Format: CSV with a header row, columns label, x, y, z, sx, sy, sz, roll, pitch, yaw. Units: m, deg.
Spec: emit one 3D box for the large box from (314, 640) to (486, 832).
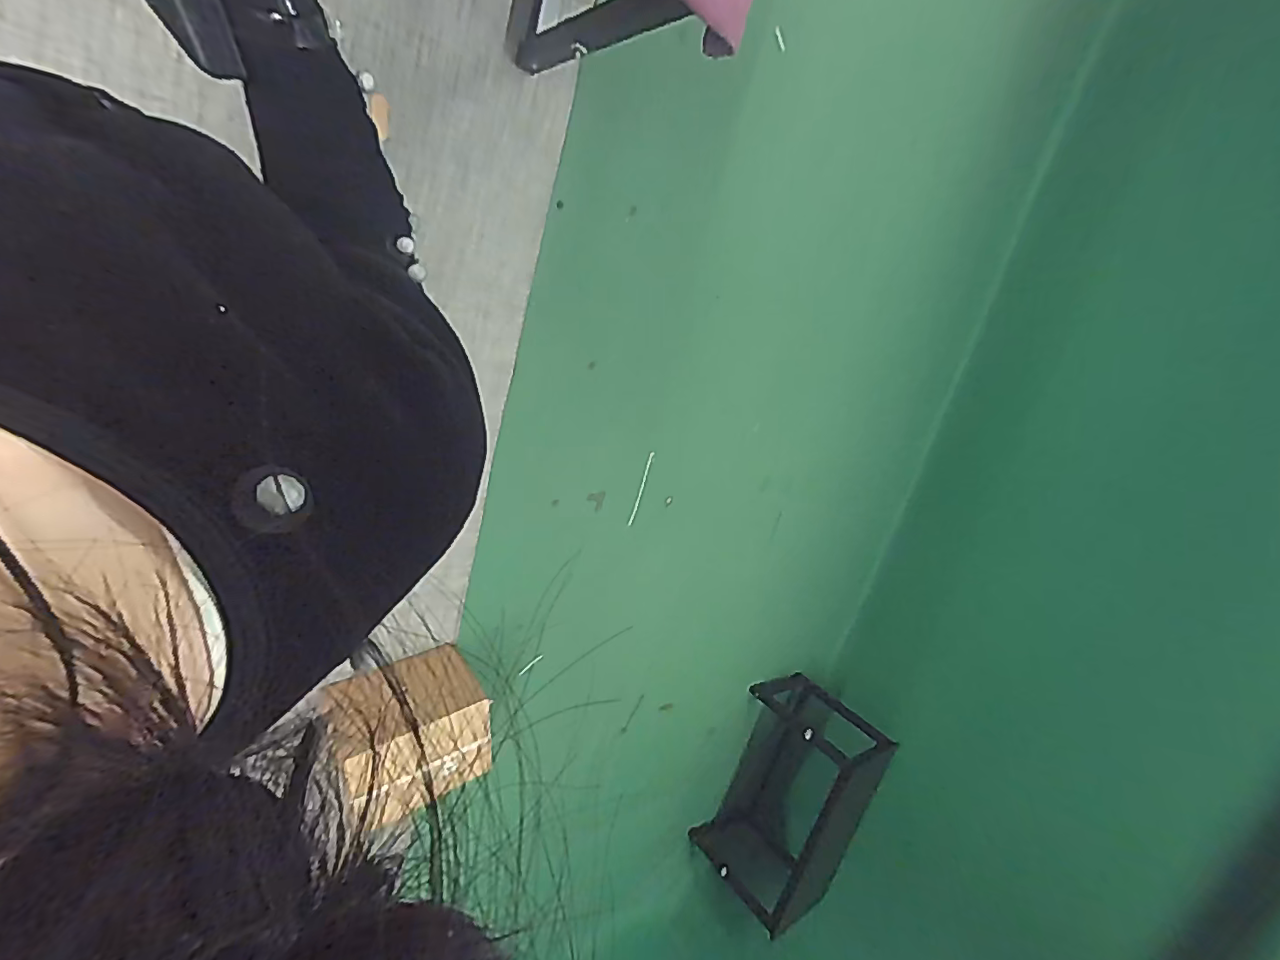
label,x,y,z,sx,sy,sz,roll,pitch,yaw
large box,-0.740,0.770,1.691,0.408,0.320,0.320,-14,121,-38
